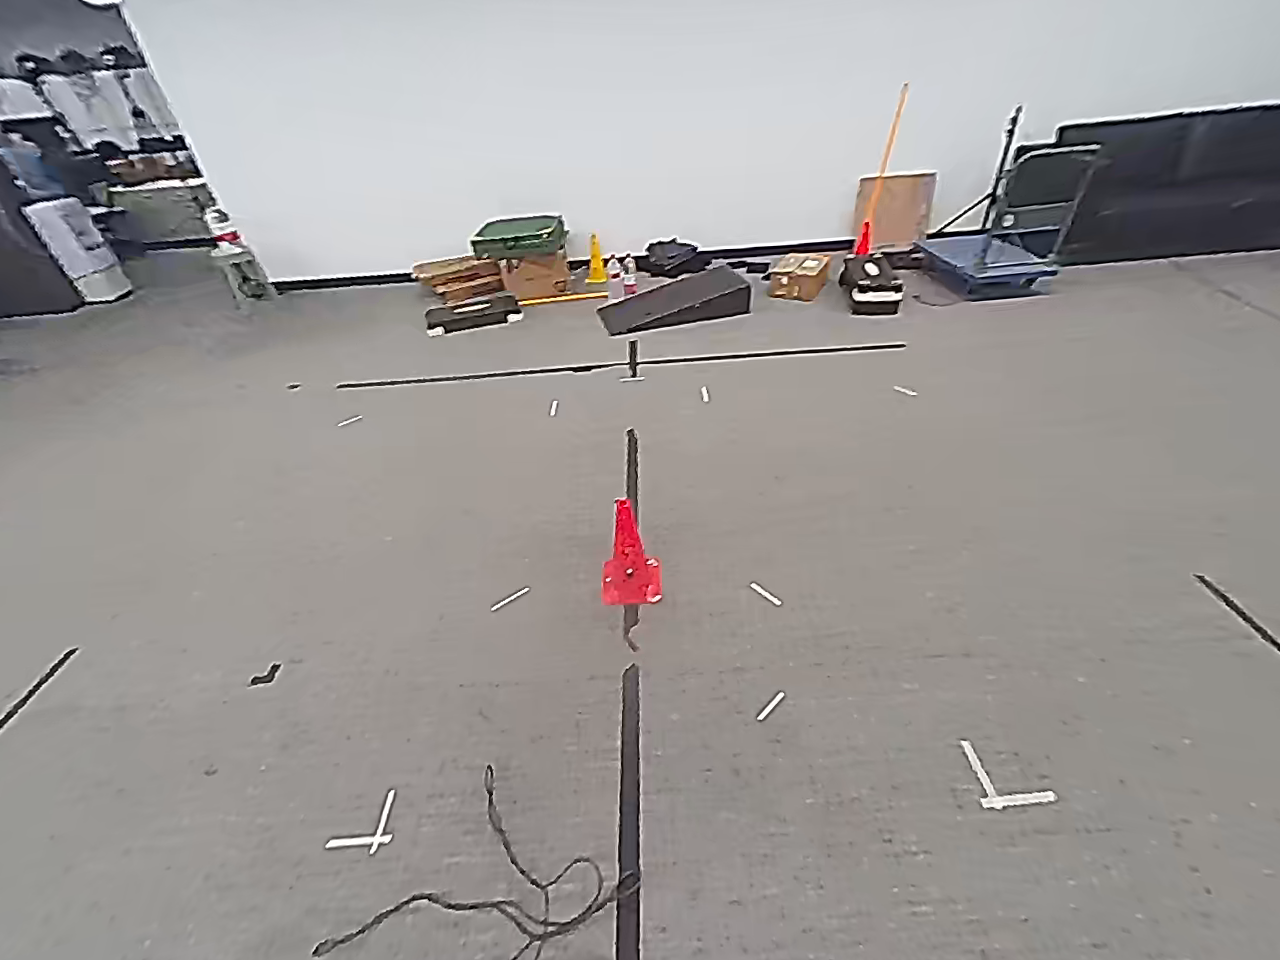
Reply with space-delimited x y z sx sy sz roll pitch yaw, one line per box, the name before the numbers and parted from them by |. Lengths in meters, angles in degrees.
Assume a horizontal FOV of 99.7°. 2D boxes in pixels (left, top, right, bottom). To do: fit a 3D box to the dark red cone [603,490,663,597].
dark red cone | -0.040 0.190 1.743 0.201 0.394 0.202 -5 38 2
